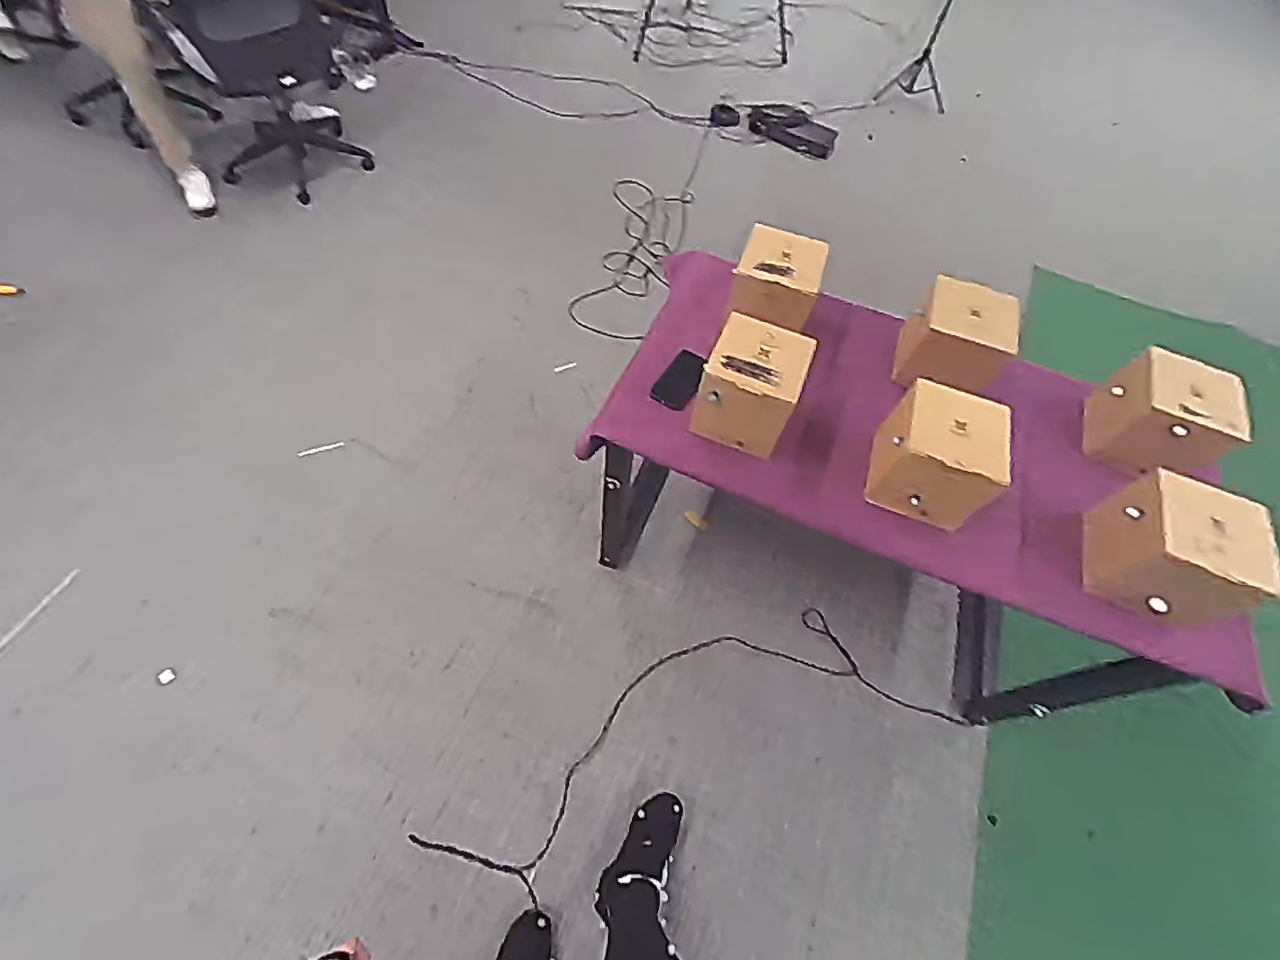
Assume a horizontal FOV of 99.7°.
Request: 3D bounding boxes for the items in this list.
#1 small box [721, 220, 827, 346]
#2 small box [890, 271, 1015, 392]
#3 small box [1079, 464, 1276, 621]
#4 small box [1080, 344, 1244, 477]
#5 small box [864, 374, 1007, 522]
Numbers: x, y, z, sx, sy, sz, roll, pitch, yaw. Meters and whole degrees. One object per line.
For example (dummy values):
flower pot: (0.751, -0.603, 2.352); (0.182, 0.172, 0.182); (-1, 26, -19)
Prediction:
small box: (0.284, -0.422, 1.174); (0.168, 0.176, 0.179); (19, 59, 5)
small box: (0.652, -0.300, 1.141); (0.168, 0.176, 0.179); (21, 60, 8)
small box: (0.889, 0.110, 0.916); (0.168, 0.176, 0.179); (24, 60, 10)
small box: (1.021, -0.131, 1.076); (0.168, 0.176, 0.179); (24, 60, 9)
small box: (0.529, -0.054, 0.981); (0.168, 0.176, 0.179); (20, 59, 6)
